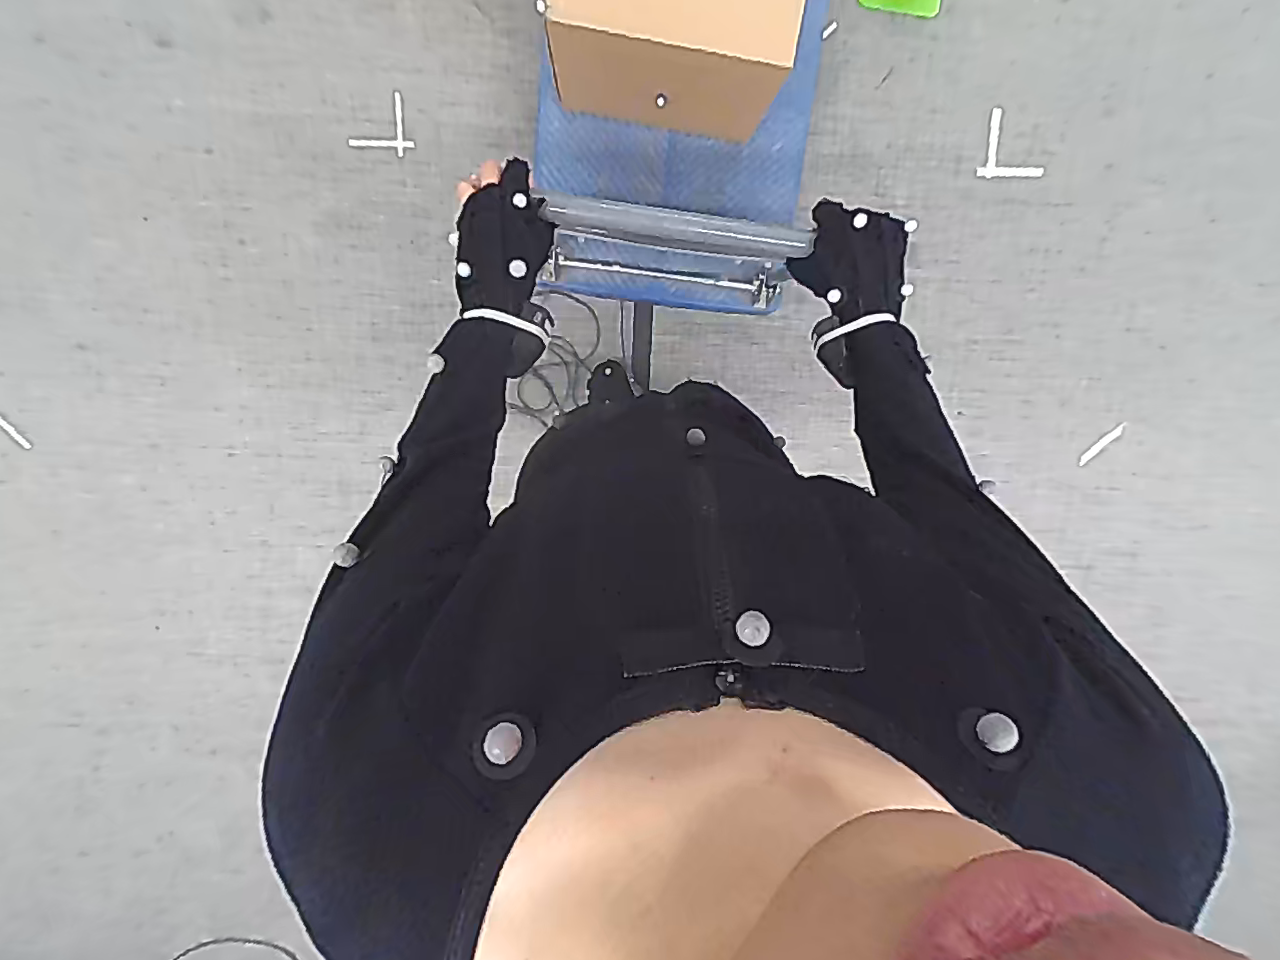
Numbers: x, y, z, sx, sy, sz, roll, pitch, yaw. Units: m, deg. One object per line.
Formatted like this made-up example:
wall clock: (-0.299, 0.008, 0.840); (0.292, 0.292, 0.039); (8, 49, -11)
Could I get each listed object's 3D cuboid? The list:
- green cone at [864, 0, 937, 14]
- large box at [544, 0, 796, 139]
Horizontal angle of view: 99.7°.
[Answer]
green cone: (0.629, -1.186, 1.101); (0.202, 0.368, 0.200); (5, 101, -5)
large box: (0.059, -0.874, 0.989); (0.408, 0.320, 0.320); (8, 101, -4)
